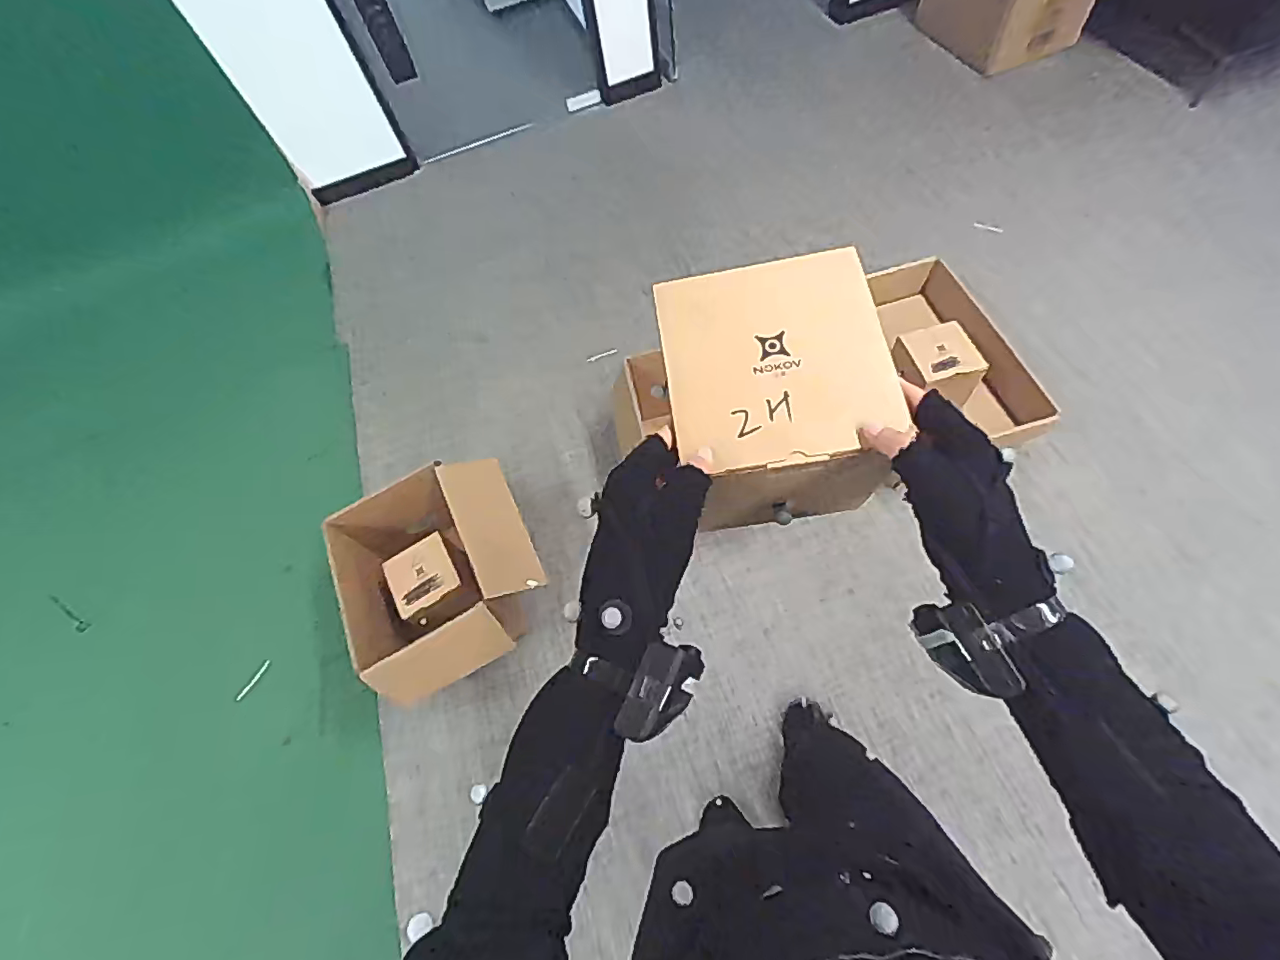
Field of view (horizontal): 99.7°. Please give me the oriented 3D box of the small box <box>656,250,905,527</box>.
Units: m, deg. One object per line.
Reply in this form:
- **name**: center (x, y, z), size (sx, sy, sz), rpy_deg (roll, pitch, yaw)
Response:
- **small box**: center (0.110, -0.070, 0.491), size (0.168, 0.176, 0.179), rpy_deg (-9, 70, 6)

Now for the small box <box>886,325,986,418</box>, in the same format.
- **small box**: center (0.806, -0.291, 1.497), size (0.168, 0.176, 0.179), rpy_deg (-14, 59, 1)
